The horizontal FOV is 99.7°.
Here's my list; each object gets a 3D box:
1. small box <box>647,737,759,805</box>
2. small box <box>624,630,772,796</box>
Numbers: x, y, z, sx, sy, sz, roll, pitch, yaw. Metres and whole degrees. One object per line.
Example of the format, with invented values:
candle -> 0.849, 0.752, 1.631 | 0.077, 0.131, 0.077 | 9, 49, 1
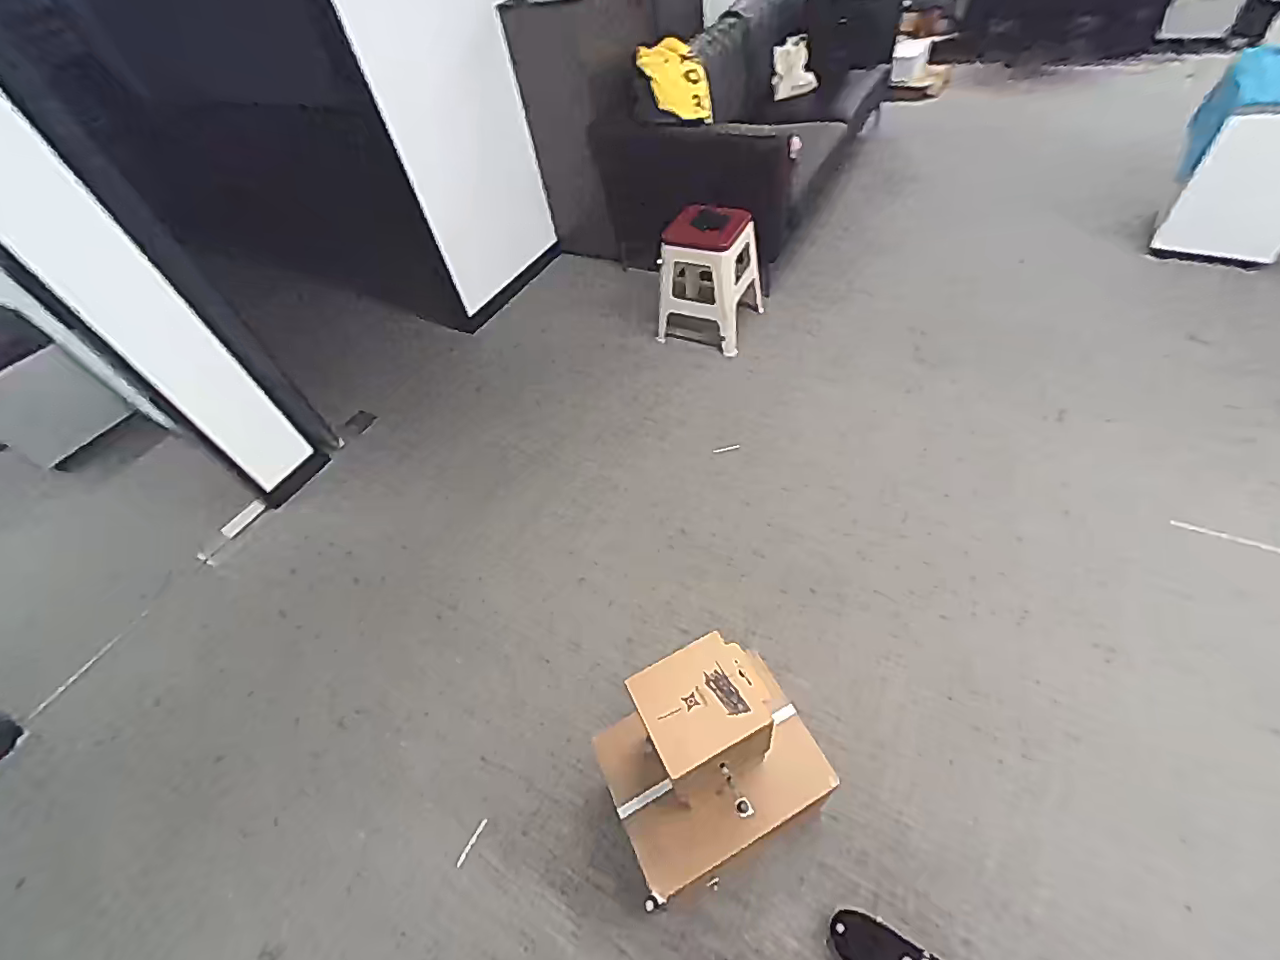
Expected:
small box -> 0.114, 0.475, 1.021 | 0.179, 0.176, 0.168 | -27, 50, -15
small box -> 0.094, 0.383, 0.885 | 0.179, 0.176, 0.168 | -25, 50, -11
